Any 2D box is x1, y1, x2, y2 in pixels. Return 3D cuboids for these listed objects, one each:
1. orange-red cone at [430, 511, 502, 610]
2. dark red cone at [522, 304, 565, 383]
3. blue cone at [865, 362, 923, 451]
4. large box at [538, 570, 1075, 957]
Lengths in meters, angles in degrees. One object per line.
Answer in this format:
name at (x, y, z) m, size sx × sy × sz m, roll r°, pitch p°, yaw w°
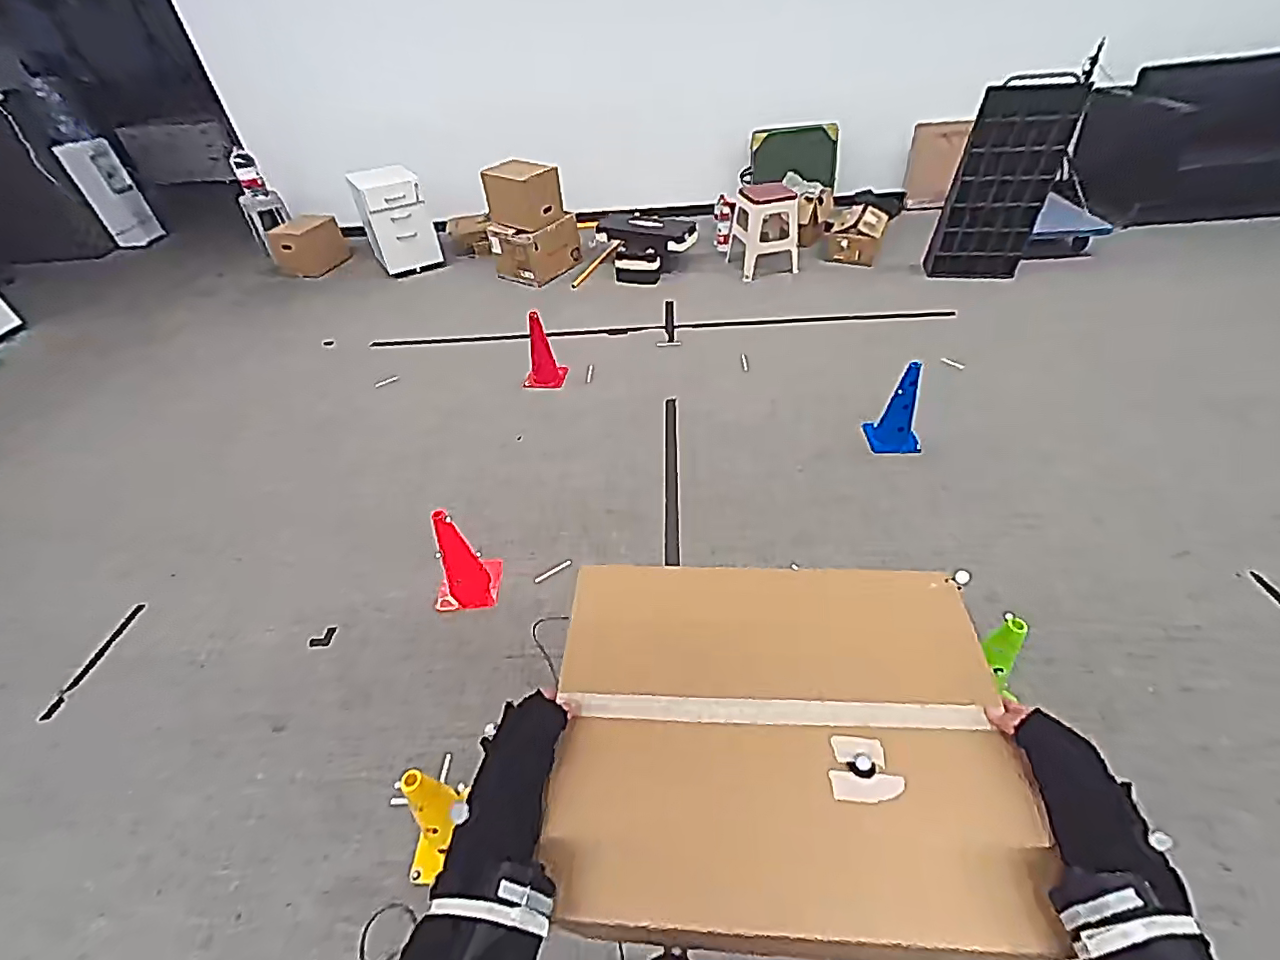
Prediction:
orange-red cone at (-0.594, 0.234, 1.735) m, size 0.198 × 0.360 × 0.199 m, roll -4°, pitch 44°, yaw 2°
dark red cone at (-0.500, -0.673, 2.662) m, size 0.201 × 0.394 × 0.202 m, roll 3°, pitch 44°, yaw 7°
blue cone at (1.055, -0.304, 2.176) m, size 0.192 × 0.380 × 0.193 m, roll 1°, pitch 43°, yaw 5°
large box at (0.131, 0.316, 0.609) m, size 0.408 × 0.320 × 0.320 m, roll 0°, pitch 47°, yaw 5°
